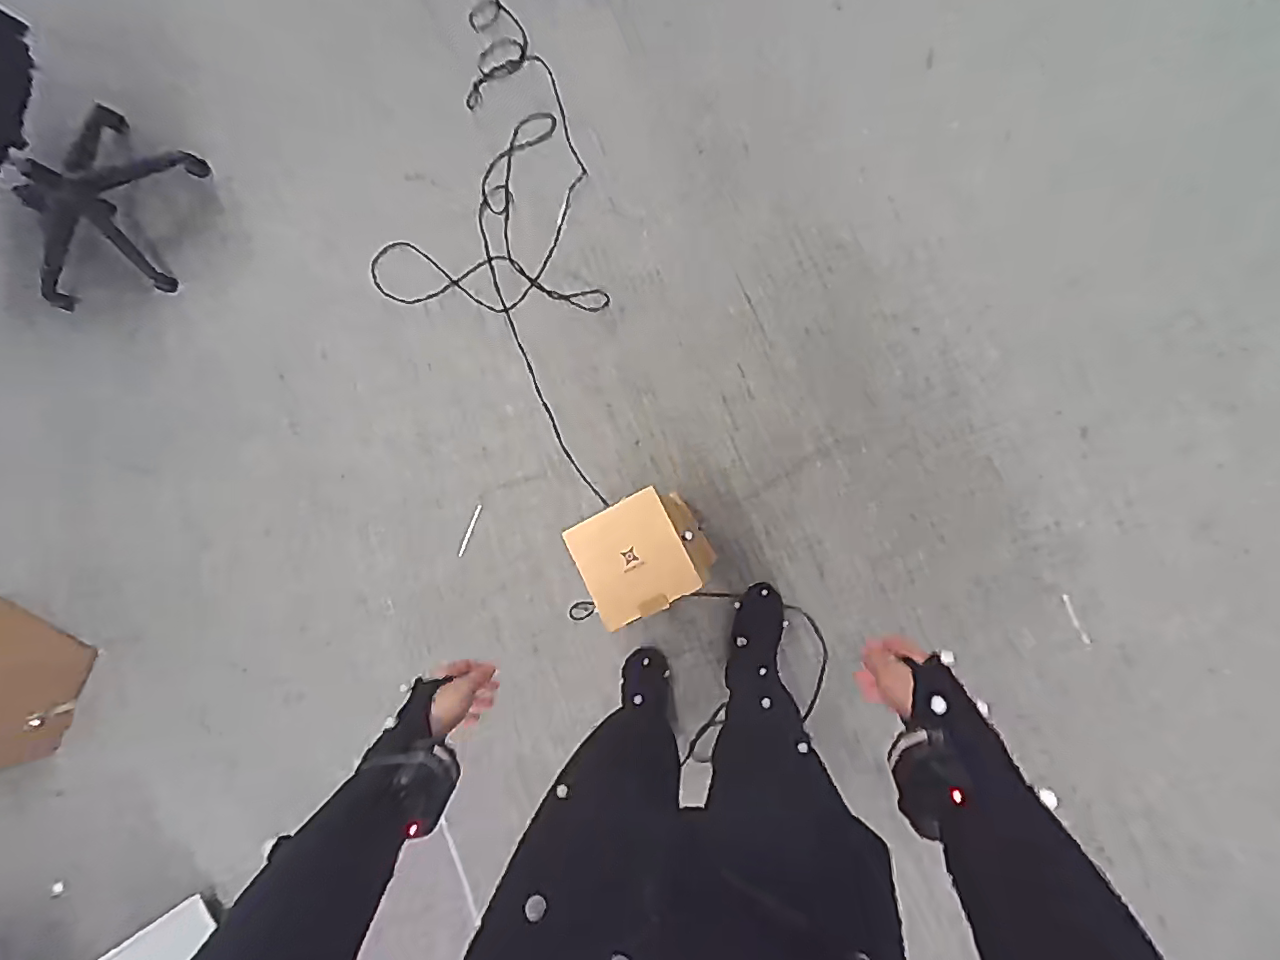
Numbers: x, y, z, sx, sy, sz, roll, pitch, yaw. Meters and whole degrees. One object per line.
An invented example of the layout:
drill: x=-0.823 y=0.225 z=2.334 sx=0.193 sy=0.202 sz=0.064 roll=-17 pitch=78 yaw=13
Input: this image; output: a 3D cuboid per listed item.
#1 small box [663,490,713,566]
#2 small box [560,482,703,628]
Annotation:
small box: x=0.055 y=0.140 z=1.225 sx=0.168 sy=0.176 sz=0.179 roll=-31 pitch=80 yaw=5
small box: x=-0.007 y=0.122 z=0.905 sx=0.168 sy=0.176 sz=0.179 roll=-29 pitch=82 yaw=6
